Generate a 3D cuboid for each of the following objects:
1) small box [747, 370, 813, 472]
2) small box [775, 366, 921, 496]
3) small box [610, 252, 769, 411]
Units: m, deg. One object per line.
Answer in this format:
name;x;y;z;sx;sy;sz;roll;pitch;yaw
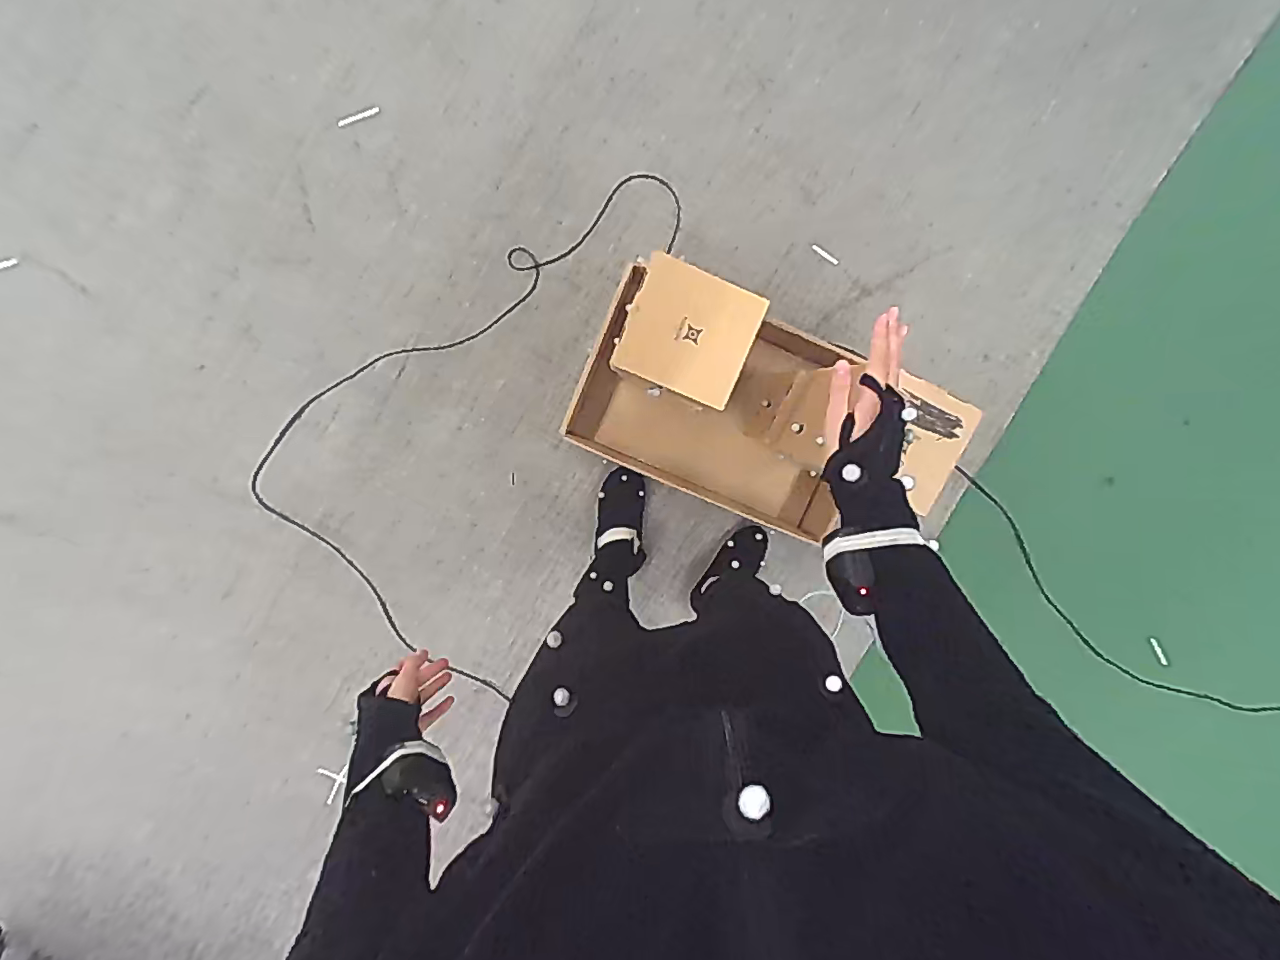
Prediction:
small box;0.355;-0.121;1.178;0.179;0.176;0.168;27;95;-5
small box;0.375;-0.092;1.017;0.168;0.176;0.179;27;95;-6
small box;0.067;-0.217;0.825;0.179;0.176;0.168;22;97;-5
